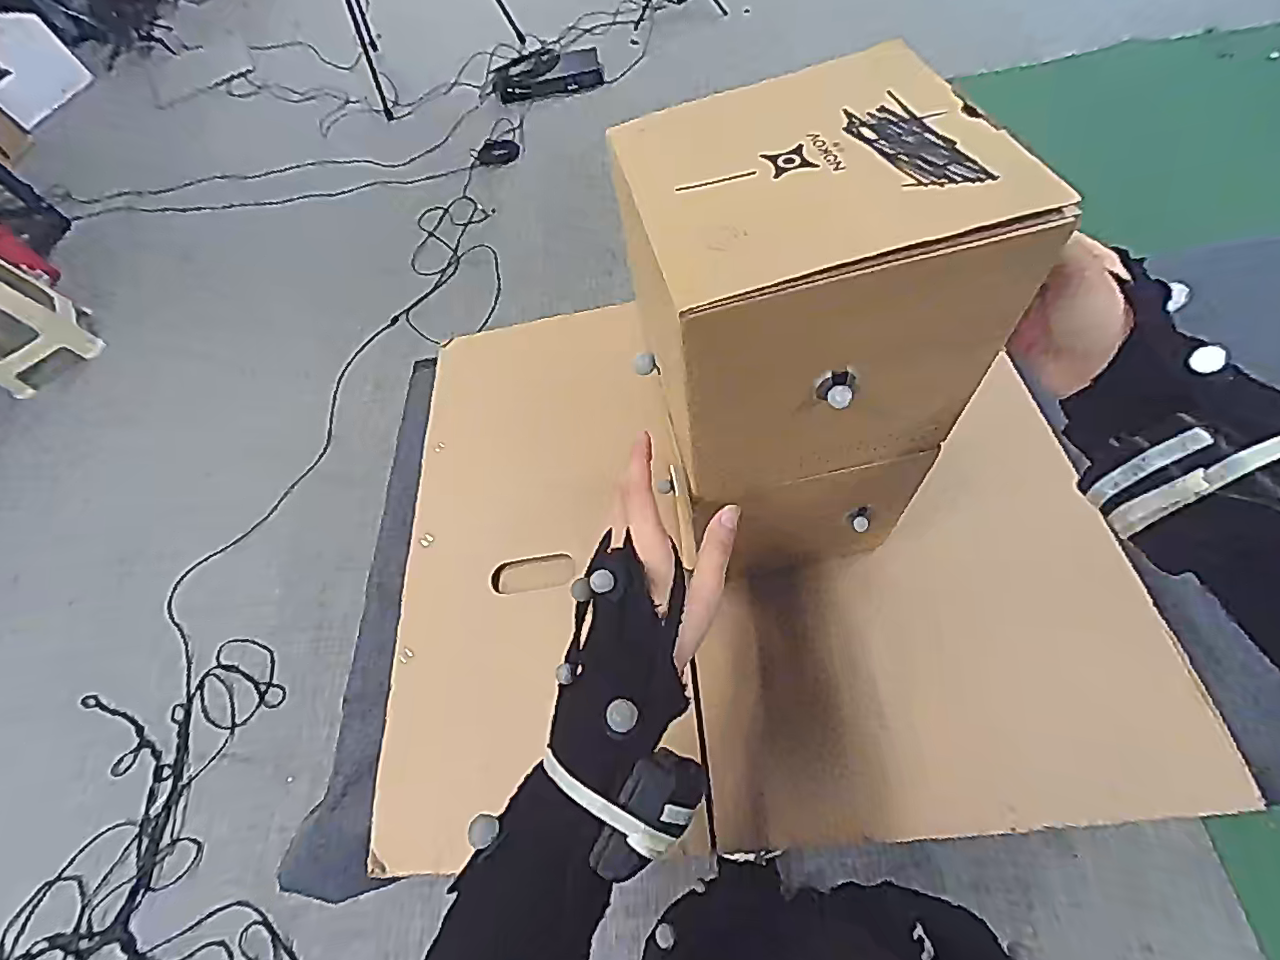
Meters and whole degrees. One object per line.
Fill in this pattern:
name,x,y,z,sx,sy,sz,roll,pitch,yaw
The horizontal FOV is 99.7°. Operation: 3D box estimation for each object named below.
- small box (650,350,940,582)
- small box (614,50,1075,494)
small box,0.116,-0.029,0.473,0.179,0.176,0.168,-14,58,1
small box,0.094,-0.114,0.334,0.179,0.176,0.168,-15,58,1
